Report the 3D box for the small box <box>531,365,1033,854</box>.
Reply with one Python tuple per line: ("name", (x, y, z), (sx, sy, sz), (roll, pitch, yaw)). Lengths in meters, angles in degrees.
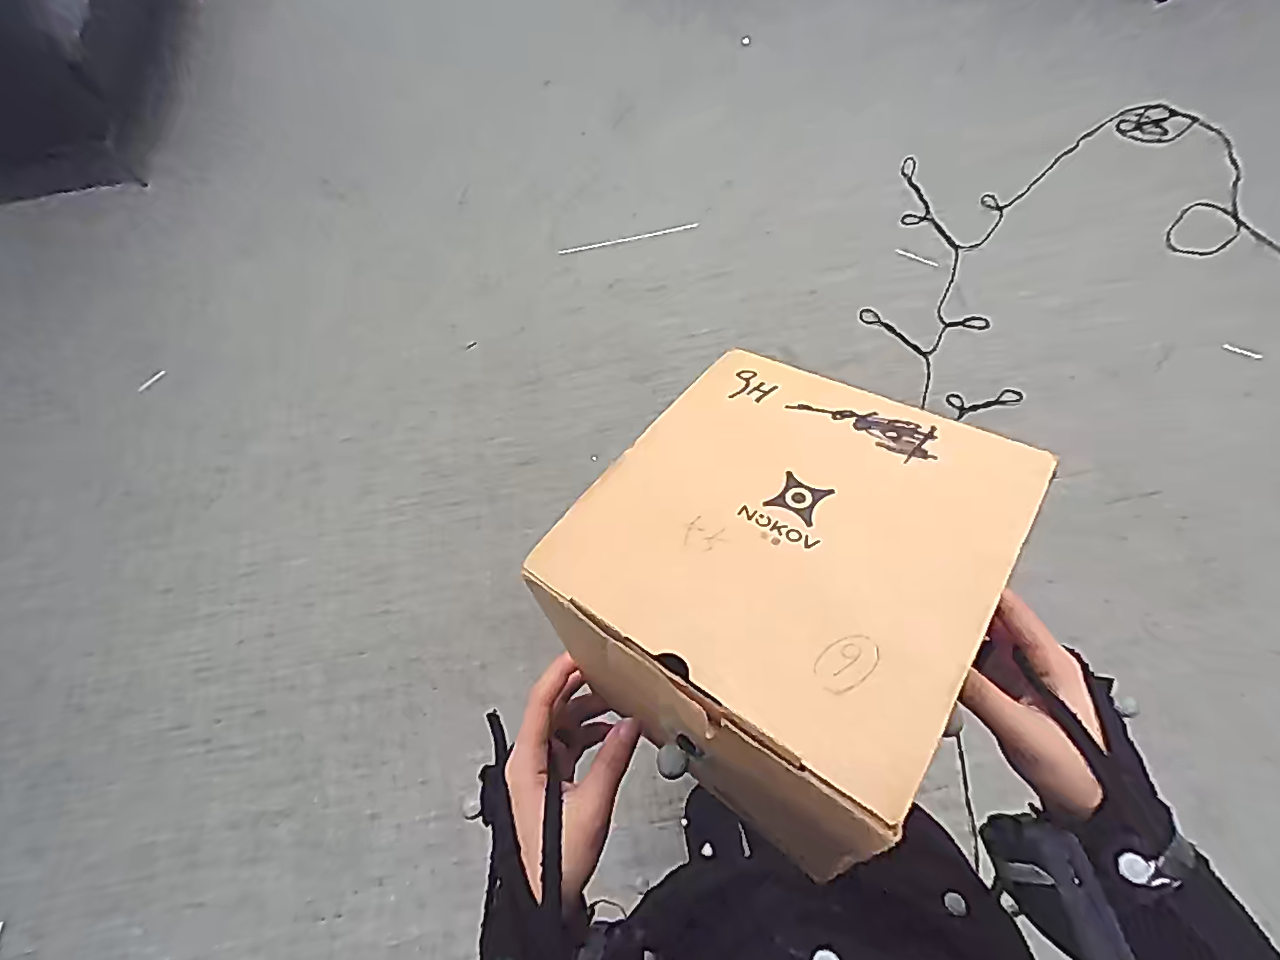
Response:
("small box", (0.074, 0.072, 0.306), (0.168, 0.176, 0.179), (28, 60, 28))
